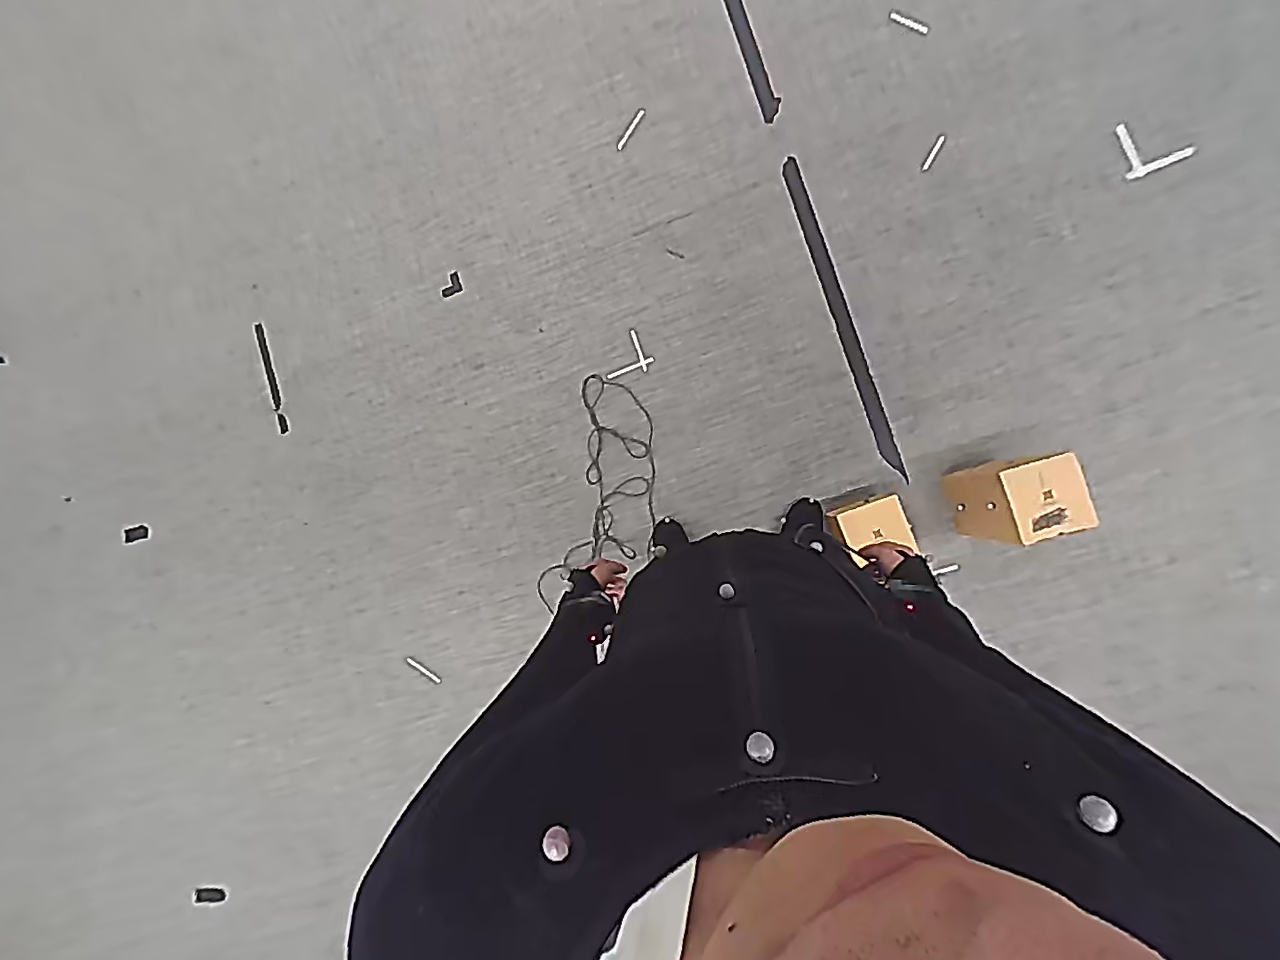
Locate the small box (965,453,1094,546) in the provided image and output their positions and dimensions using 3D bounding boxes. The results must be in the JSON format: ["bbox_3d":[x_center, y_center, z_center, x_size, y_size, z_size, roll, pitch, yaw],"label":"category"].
[{"bbox_3d":[0.918,0.045,1.291,0.168,0.176,0.179,-17,86,7],"label":"small box"}]

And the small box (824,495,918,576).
[{"bbox_3d":[0.631,0.150,1.500,0.168,0.176,0.179,-21,86,8],"label":"small box"}]
